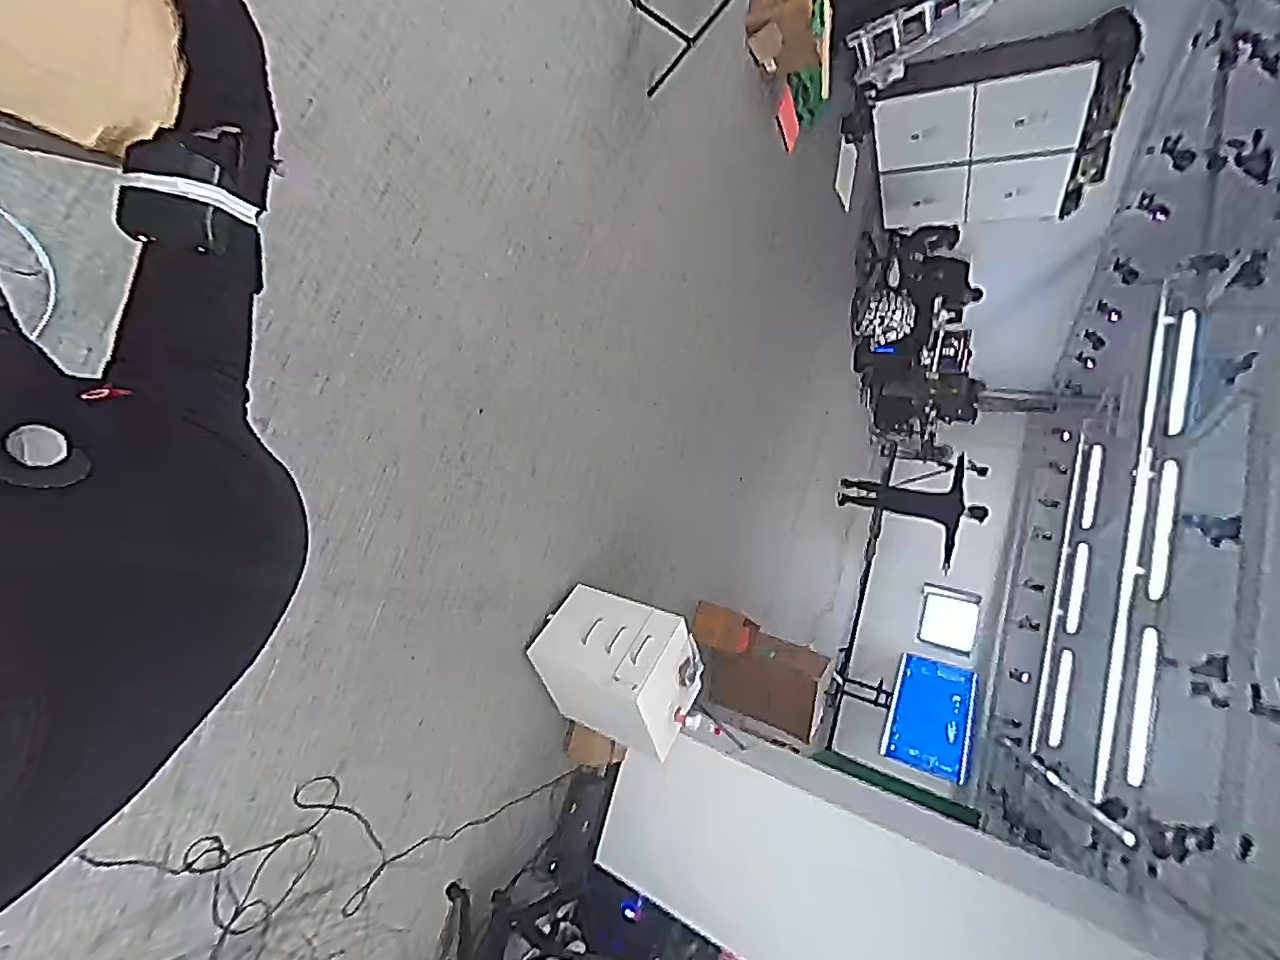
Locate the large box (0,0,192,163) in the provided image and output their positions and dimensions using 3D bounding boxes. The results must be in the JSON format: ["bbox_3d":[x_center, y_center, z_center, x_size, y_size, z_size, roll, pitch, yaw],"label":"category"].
[{"bbox_3d":[-0.532,-0.433,0.275,0.408,0.320,0.320,3,108,-64],"label":"large box"}]
